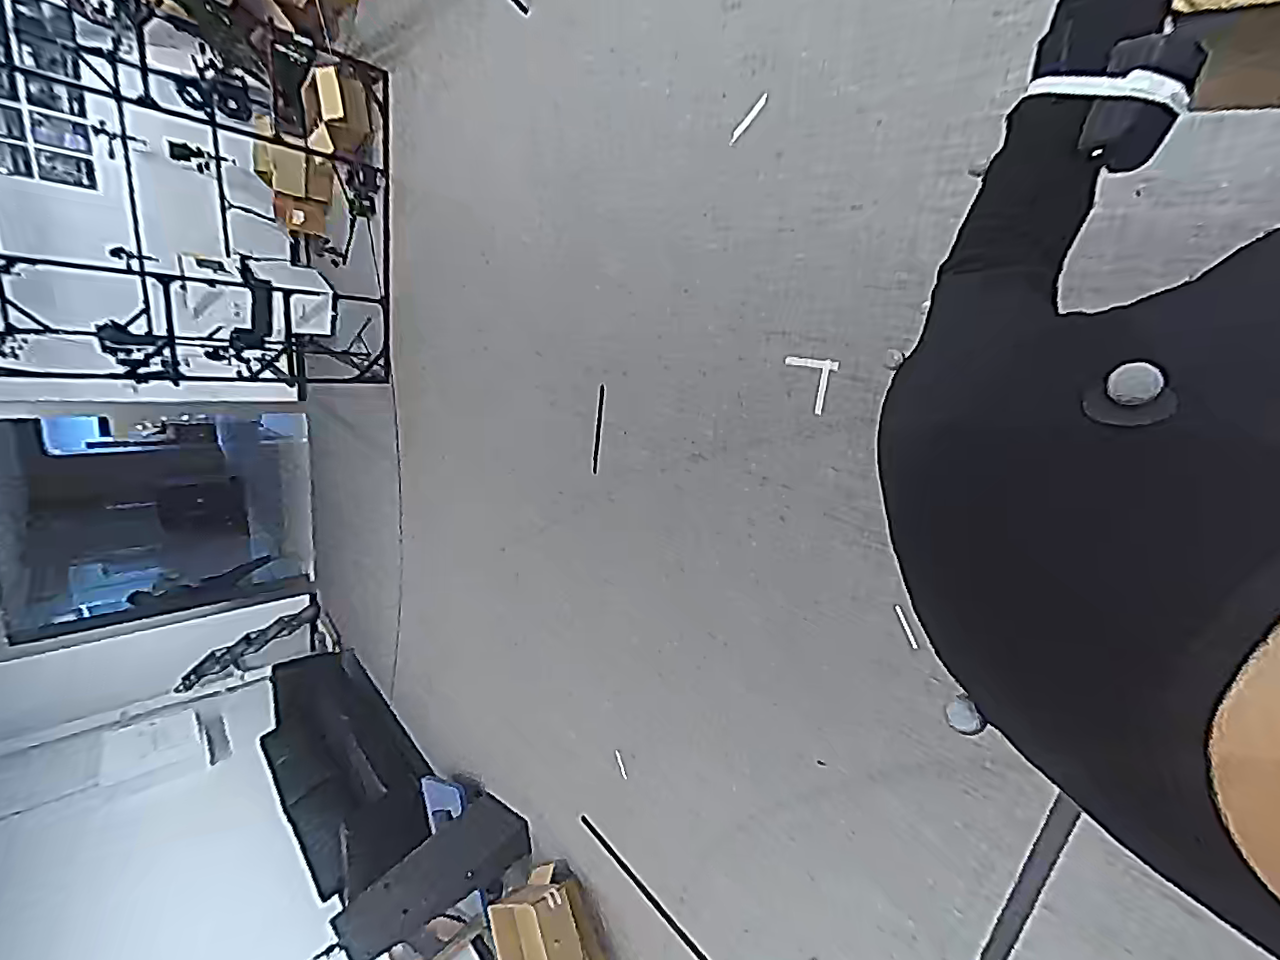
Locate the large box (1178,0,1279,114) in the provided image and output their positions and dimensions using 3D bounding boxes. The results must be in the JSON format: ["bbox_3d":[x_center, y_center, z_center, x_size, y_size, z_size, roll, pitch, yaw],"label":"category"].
[{"bbox_3d":[0.588,-0.397,0.257,0.408,0.320,0.320,26,123,37],"label":"large box"}]
